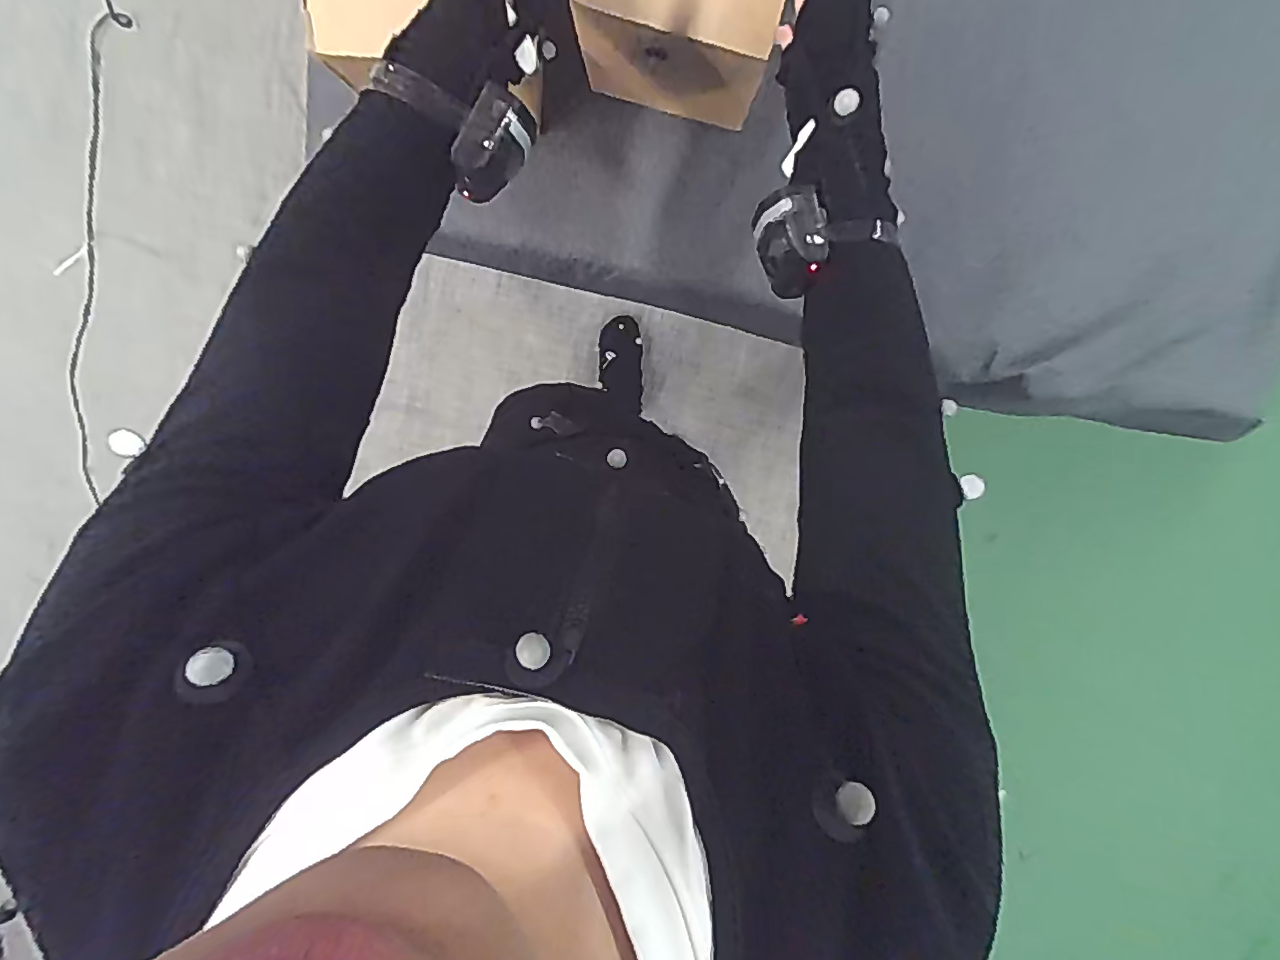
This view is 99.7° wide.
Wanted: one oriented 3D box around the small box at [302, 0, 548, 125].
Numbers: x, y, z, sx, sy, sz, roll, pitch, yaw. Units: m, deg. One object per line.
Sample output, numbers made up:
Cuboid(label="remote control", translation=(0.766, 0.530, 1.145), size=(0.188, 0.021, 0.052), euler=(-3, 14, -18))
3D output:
Cuboid(label="small box", translation=(-0.192, -0.465, 0.518), size=(0.179, 0.176, 0.168), euler=(4, 106, -1))
